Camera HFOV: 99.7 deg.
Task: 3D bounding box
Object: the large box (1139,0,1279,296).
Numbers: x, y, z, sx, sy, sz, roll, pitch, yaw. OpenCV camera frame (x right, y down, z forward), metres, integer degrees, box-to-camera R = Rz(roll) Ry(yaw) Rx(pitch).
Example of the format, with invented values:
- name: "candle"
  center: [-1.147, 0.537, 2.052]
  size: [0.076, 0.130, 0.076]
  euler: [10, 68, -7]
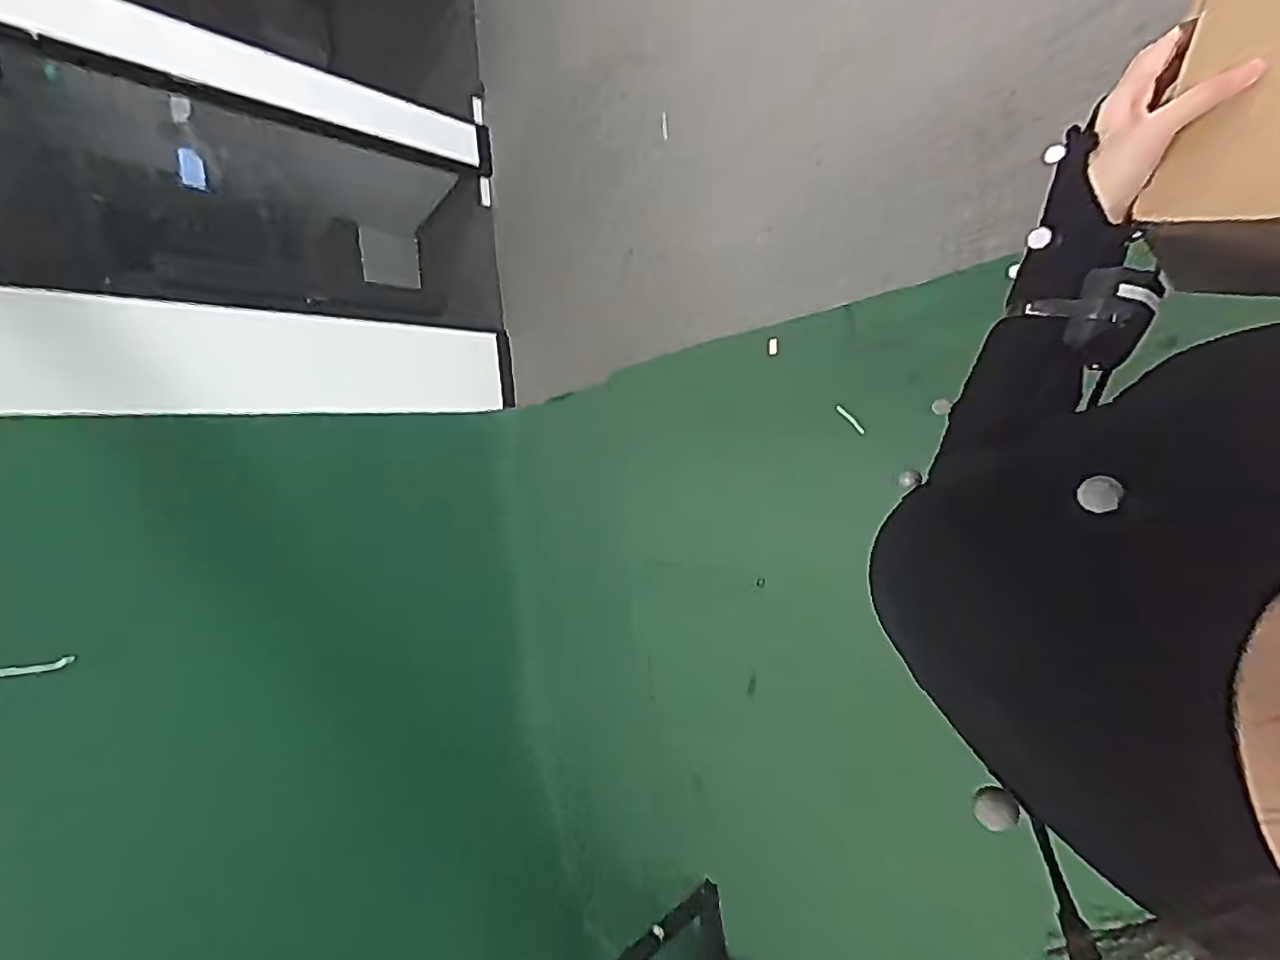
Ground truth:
- name: "large box"
  center: [0.623, -0.295, 0.324]
  size: [0.408, 0.320, 0.320]
  euler: [23, 111, 44]
